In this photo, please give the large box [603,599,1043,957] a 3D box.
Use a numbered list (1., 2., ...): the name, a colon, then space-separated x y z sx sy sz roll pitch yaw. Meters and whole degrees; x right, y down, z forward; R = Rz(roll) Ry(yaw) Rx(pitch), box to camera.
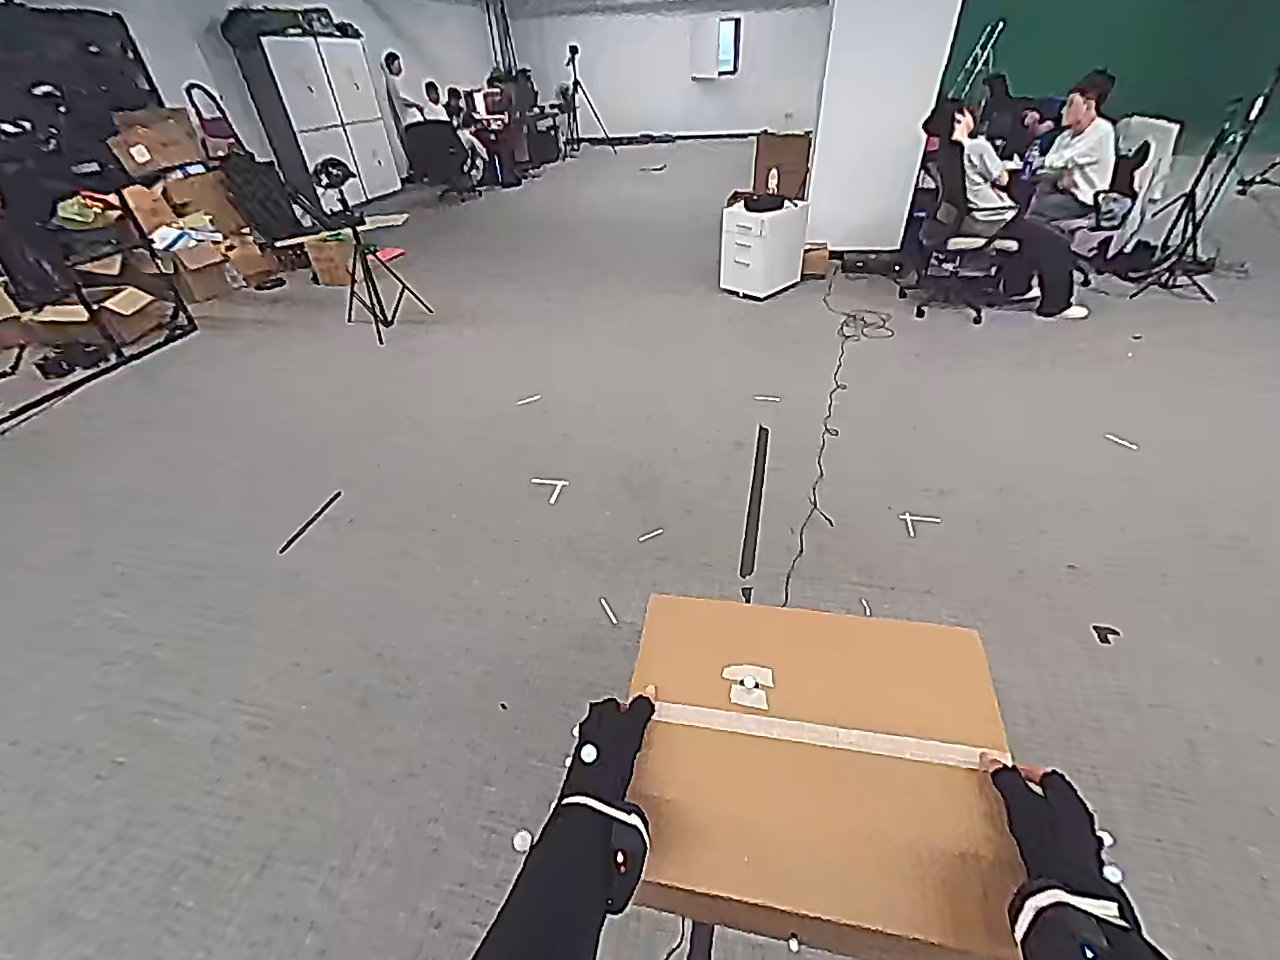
1. large box: 0.200 0.383 0.709 0.408 0.320 0.320 3 46 12
